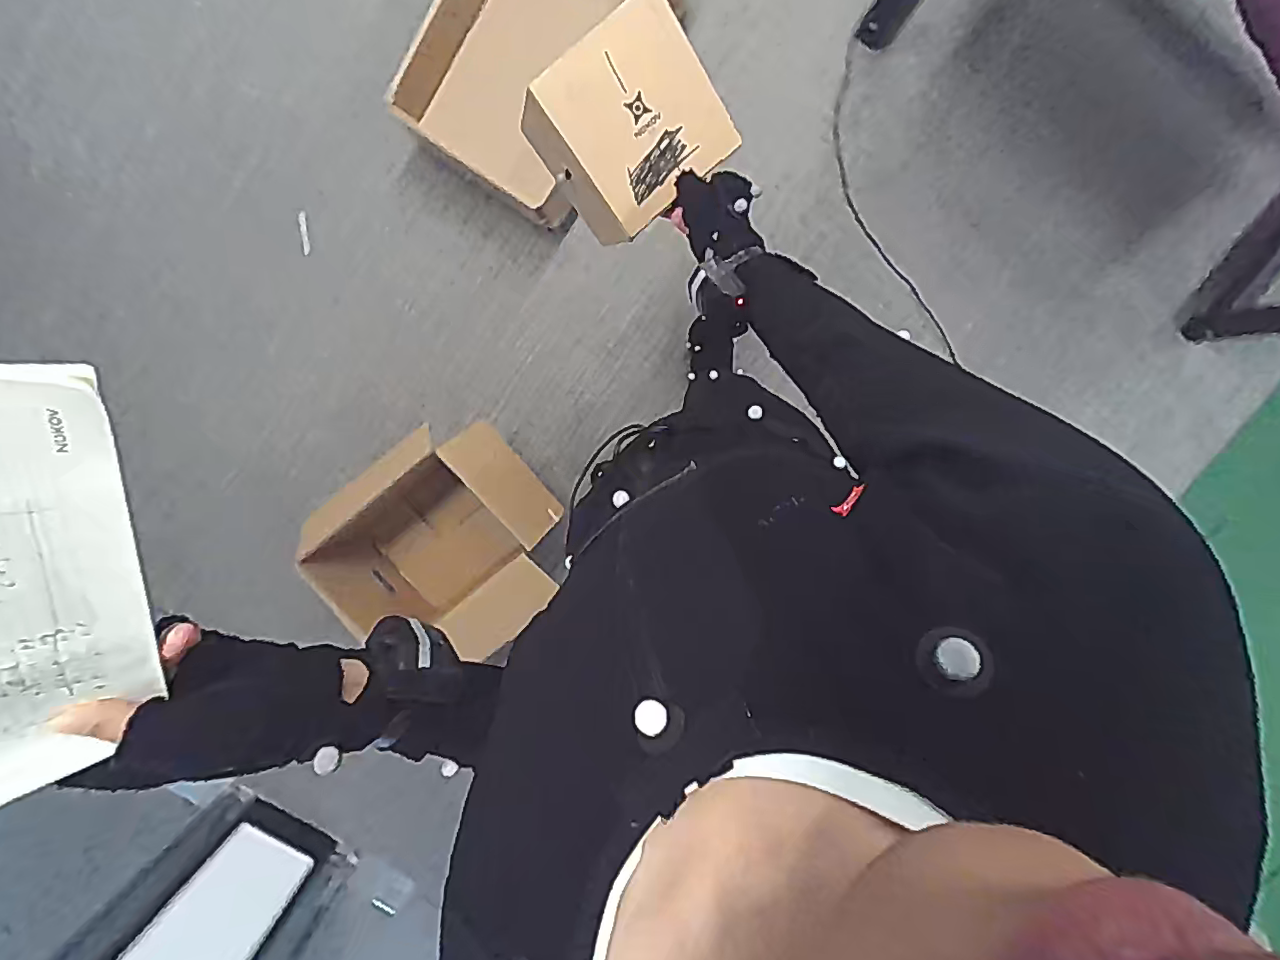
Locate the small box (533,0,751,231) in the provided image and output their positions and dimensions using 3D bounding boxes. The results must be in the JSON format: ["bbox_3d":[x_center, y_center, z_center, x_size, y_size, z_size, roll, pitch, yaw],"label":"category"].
[{"bbox_3d":[-0.006,-0.415,0.632,0.168,0.176,0.179,-38,114,1],"label":"small box"}]
